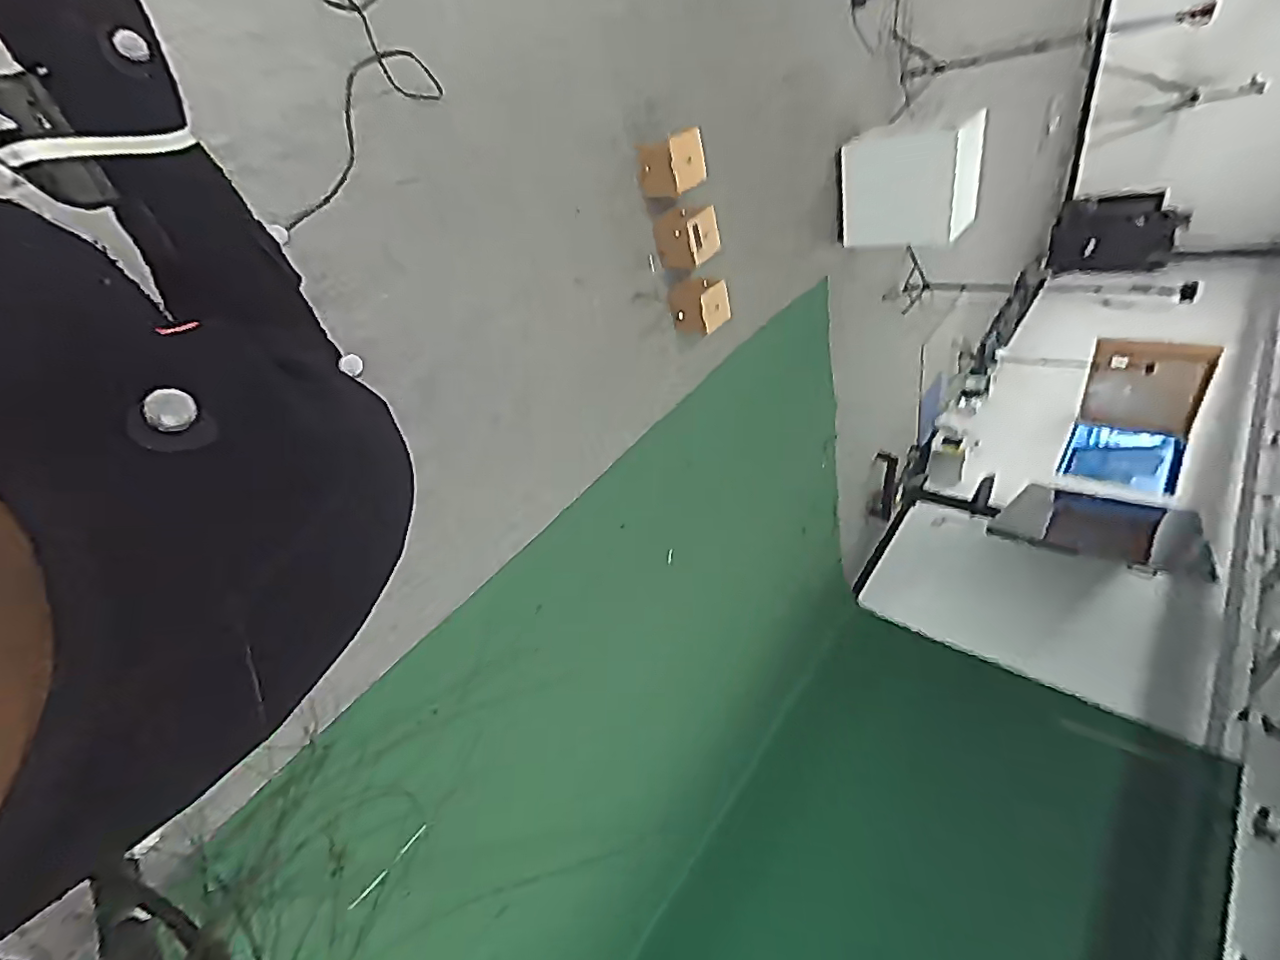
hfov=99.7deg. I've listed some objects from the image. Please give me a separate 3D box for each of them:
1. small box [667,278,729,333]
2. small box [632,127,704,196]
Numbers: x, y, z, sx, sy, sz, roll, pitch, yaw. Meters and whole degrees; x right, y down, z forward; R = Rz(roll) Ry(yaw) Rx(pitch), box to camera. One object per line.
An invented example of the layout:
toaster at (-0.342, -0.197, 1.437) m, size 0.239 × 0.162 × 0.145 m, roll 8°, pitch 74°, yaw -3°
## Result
small box at (0.239, -0.726, 2.233) m, size 0.179 × 0.176 × 0.168 m, roll -43°, pitch 133°, yaw -29°
small box at (0.100, -1.125, 1.913) m, size 0.179 × 0.176 × 0.168 m, roll -43°, pitch 133°, yaw -29°
